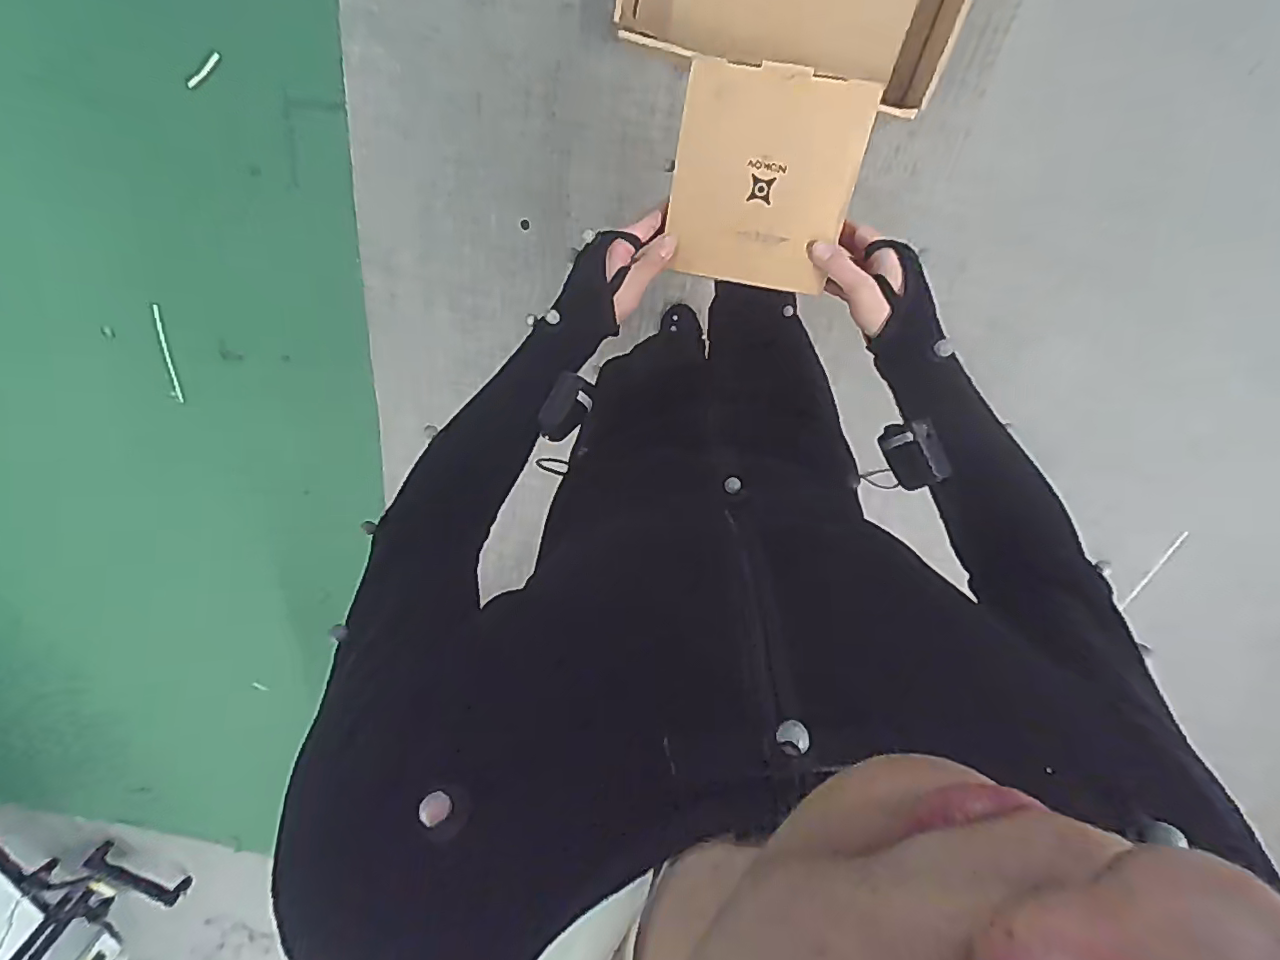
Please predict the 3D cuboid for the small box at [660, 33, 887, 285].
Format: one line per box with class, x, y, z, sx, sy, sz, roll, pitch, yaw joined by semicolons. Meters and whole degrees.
small box;0.120;-0.315;0.554;0.168;0.176;0.179;11;118;2
